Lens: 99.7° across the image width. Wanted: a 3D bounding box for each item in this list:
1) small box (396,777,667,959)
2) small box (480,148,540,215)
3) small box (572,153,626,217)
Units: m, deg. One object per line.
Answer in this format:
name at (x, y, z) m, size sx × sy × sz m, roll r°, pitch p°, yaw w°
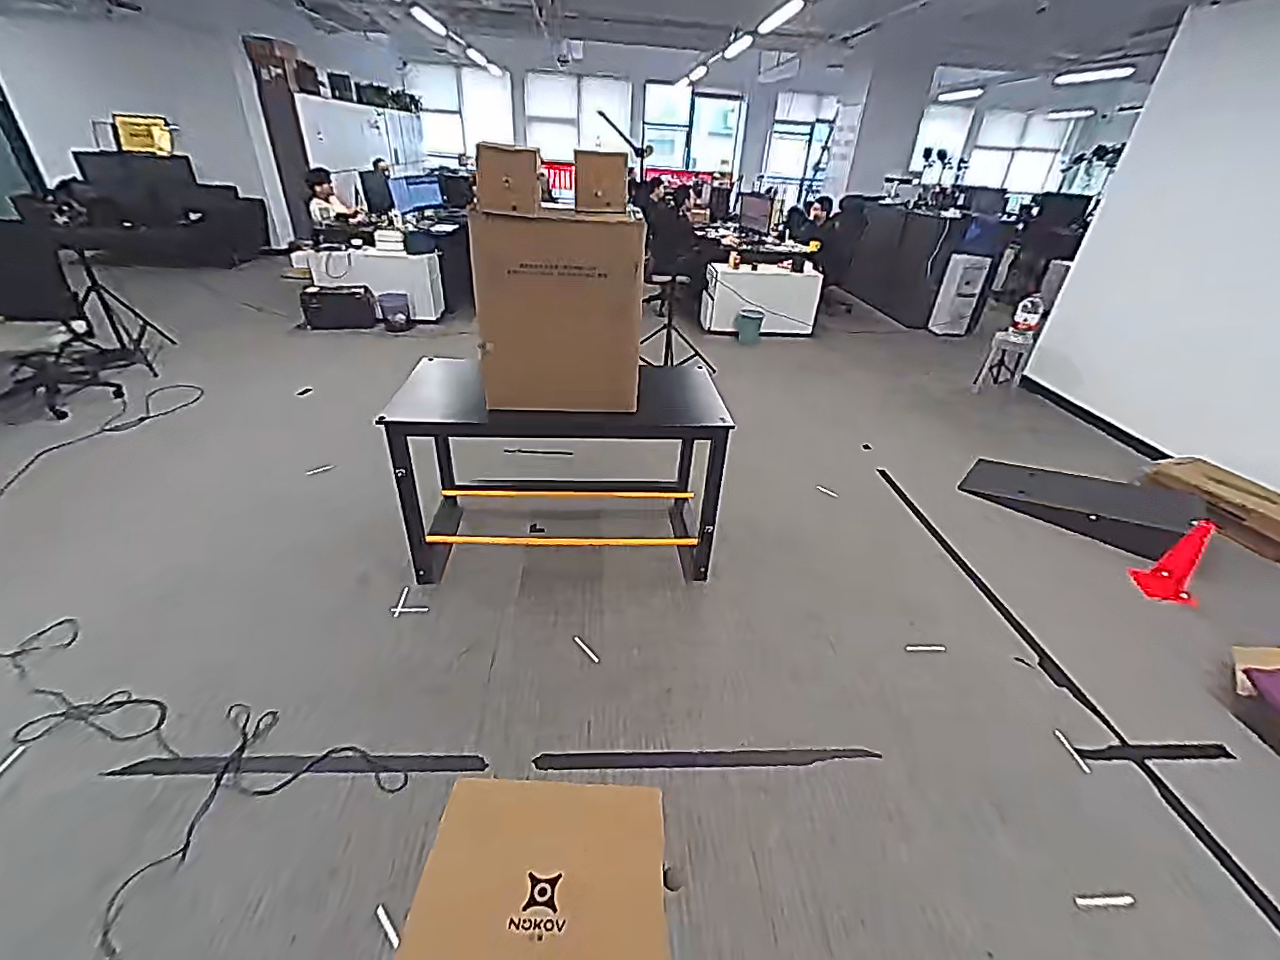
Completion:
small box at (-0.068, 0.351, 0.388) m, size 0.168 × 0.176 × 0.179 m, roll 2°, pitch 26°, yaw 0°
small box at (-0.410, -0.957, 1.732) m, size 0.168 × 0.176 × 0.179 m, roll -1°, pitch 31°, yaw -6°
small box at (-0.136, -0.950, 1.741) m, size 0.168 × 0.176 × 0.179 m, roll -3°, pitch 31°, yaw -7°
